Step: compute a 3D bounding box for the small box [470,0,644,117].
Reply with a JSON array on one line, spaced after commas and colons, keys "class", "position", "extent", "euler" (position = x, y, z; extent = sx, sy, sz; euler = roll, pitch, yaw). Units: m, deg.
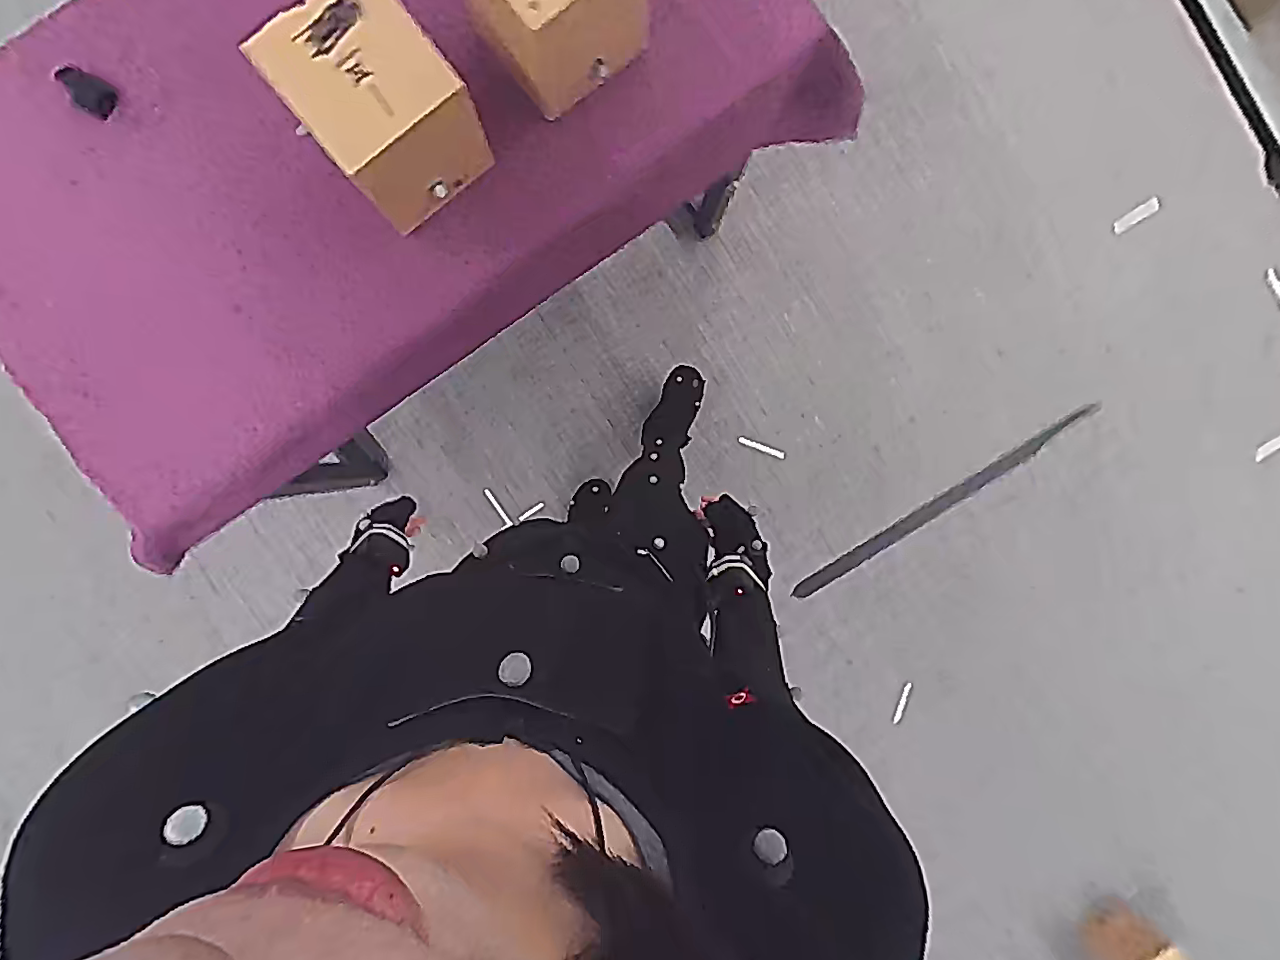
[{"class": "small box", "position": [-0.107, -0.614, 0.673], "extent": [0.179, 0.176, 0.168], "euler": [-39, 93, -1]}]

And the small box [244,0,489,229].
[{"class": "small box", "position": [-0.317, -0.454, 0.668], "extent": [0.168, 0.176, 0.179], "euler": [-39, 94, -1]}]
